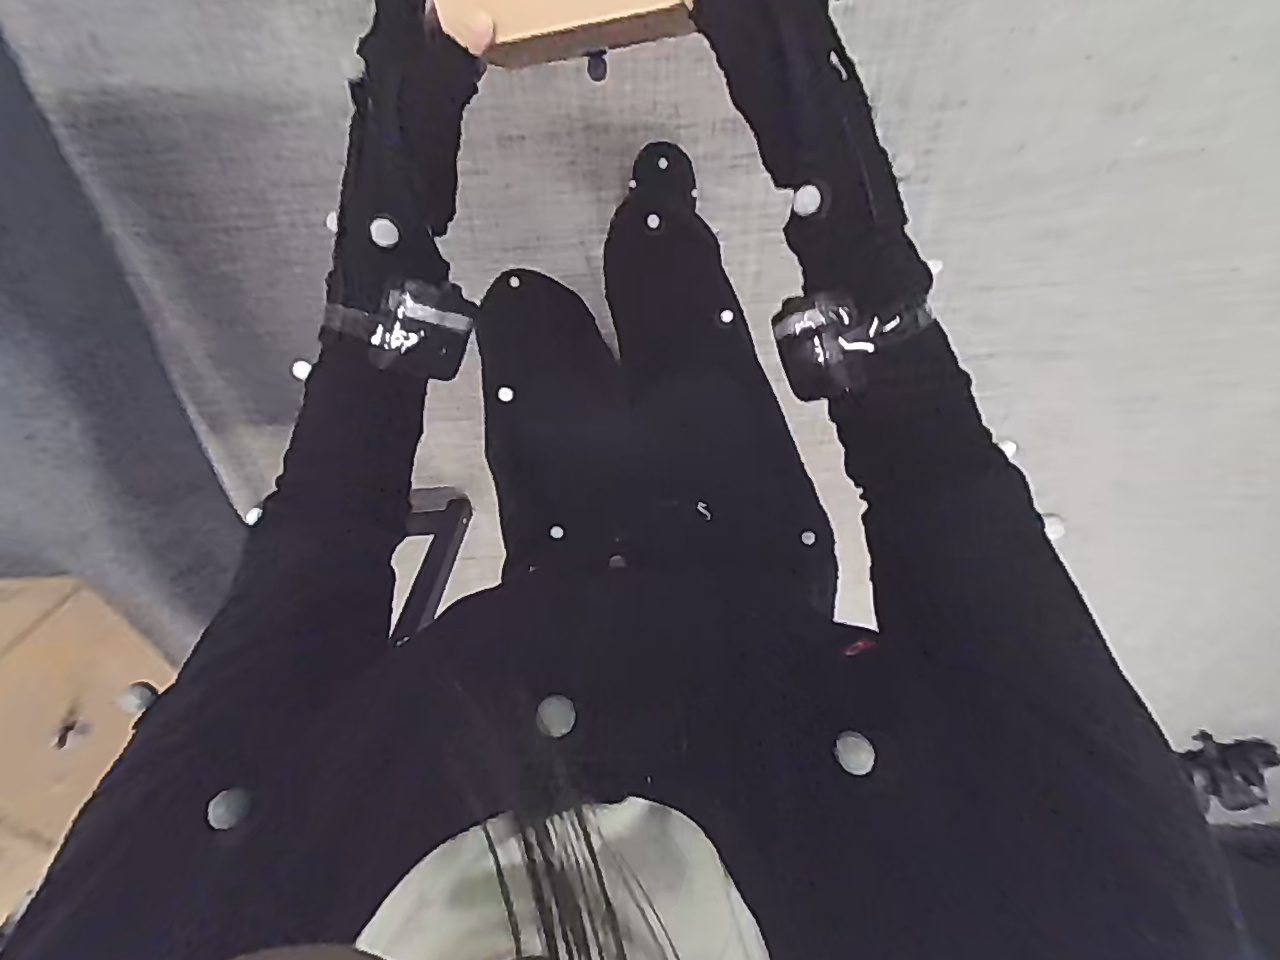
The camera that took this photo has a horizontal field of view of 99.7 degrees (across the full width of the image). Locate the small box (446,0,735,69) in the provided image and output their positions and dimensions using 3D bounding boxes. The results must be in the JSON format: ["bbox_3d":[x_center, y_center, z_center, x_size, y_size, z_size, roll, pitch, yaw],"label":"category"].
[{"bbox_3d":[-0.035,-0.375,0.327,0.168,0.176,0.179,-6,124,8],"label":"small box"}]
